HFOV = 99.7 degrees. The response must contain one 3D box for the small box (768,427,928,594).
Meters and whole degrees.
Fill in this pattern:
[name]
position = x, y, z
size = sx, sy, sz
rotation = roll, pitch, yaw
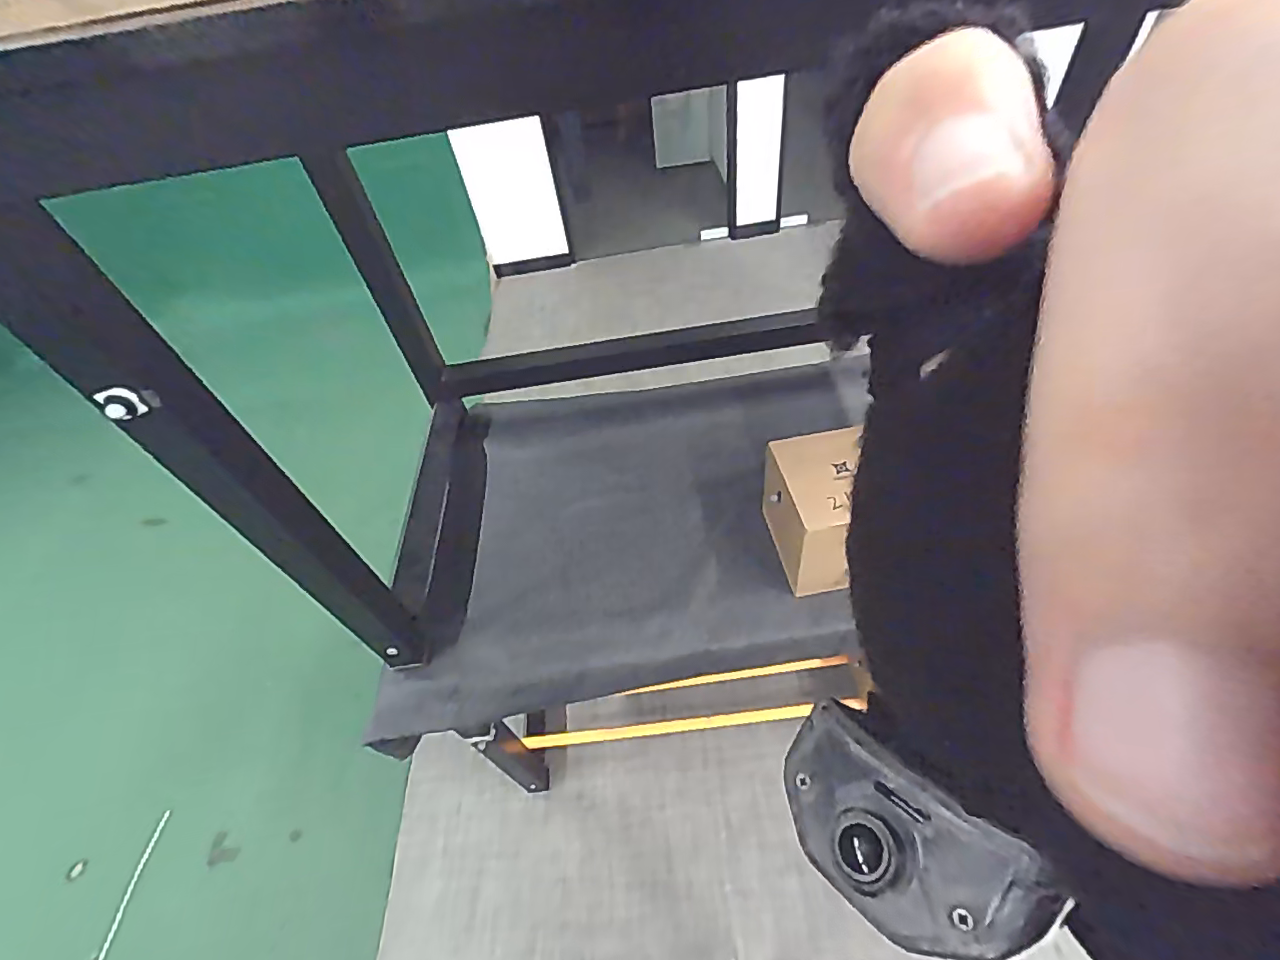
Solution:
[small box]
position = 0.298, 0.047, 0.825
size = 0.168, 0.176, 0.179
rotation = -10, 46, 1
